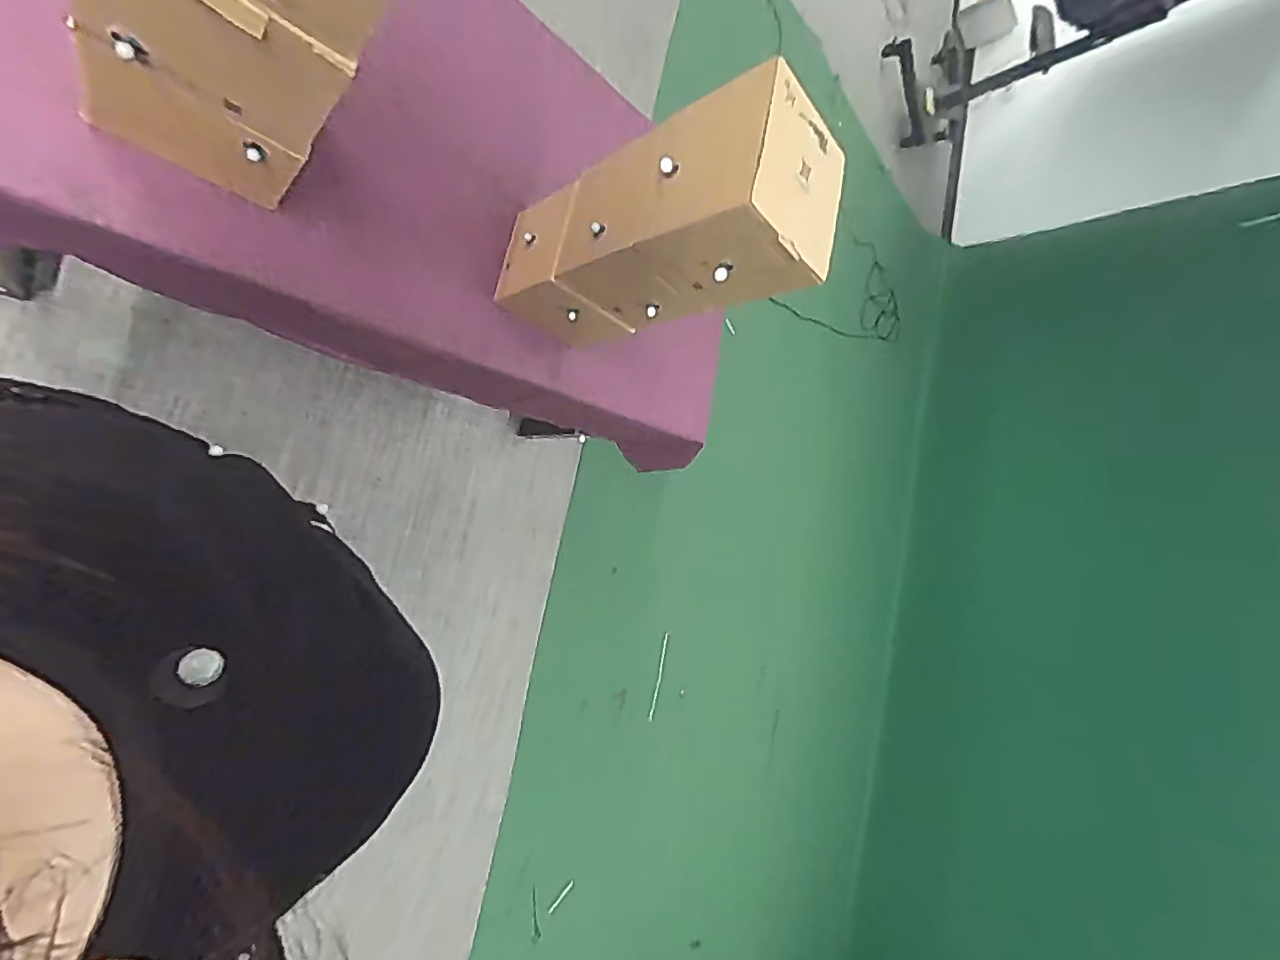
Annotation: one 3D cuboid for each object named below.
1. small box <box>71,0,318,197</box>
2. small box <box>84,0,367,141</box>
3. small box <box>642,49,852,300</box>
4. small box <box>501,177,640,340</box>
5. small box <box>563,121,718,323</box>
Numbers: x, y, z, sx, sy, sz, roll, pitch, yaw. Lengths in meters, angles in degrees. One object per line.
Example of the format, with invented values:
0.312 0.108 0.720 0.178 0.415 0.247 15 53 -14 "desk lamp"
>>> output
-0.441 -0.431 0.562 0.179 0.176 0.168 16 81 -43 "small box"
-0.328 -0.428 0.442 0.168 0.176 0.179 15 81 -44 "small box"
0.124 -0.338 0.646 0.168 0.176 0.179 21 79 -43 "small box"
-0.100 -0.344 0.885 0.179 0.176 0.168 22 78 -42 "small box"
0.013 -0.345 0.768 0.168 0.176 0.179 22 77 -42 "small box"
